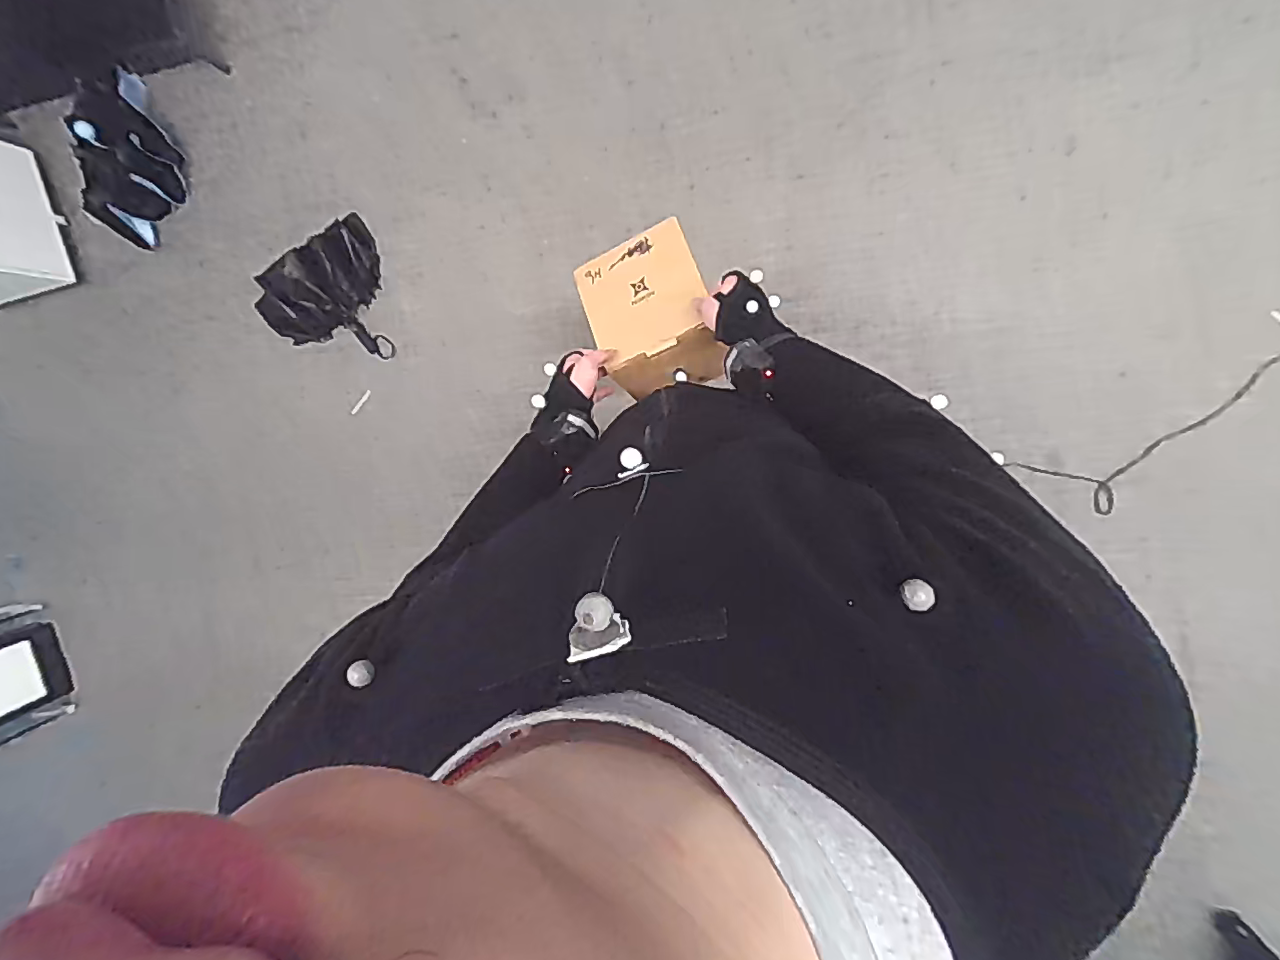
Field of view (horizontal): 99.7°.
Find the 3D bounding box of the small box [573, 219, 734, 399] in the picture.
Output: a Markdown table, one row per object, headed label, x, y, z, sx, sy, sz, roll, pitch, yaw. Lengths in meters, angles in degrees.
| label | x | y | z | sx | sy | sz | roll | pitch | yaw |
| --- | --- | --- | --- | --- | --- | --- | --- | --- | --- |
| small box | 0.027 | -0.237 | 0.808 | 0.168 | 0.176 | 0.179 | -22 | 74 | 16 |
